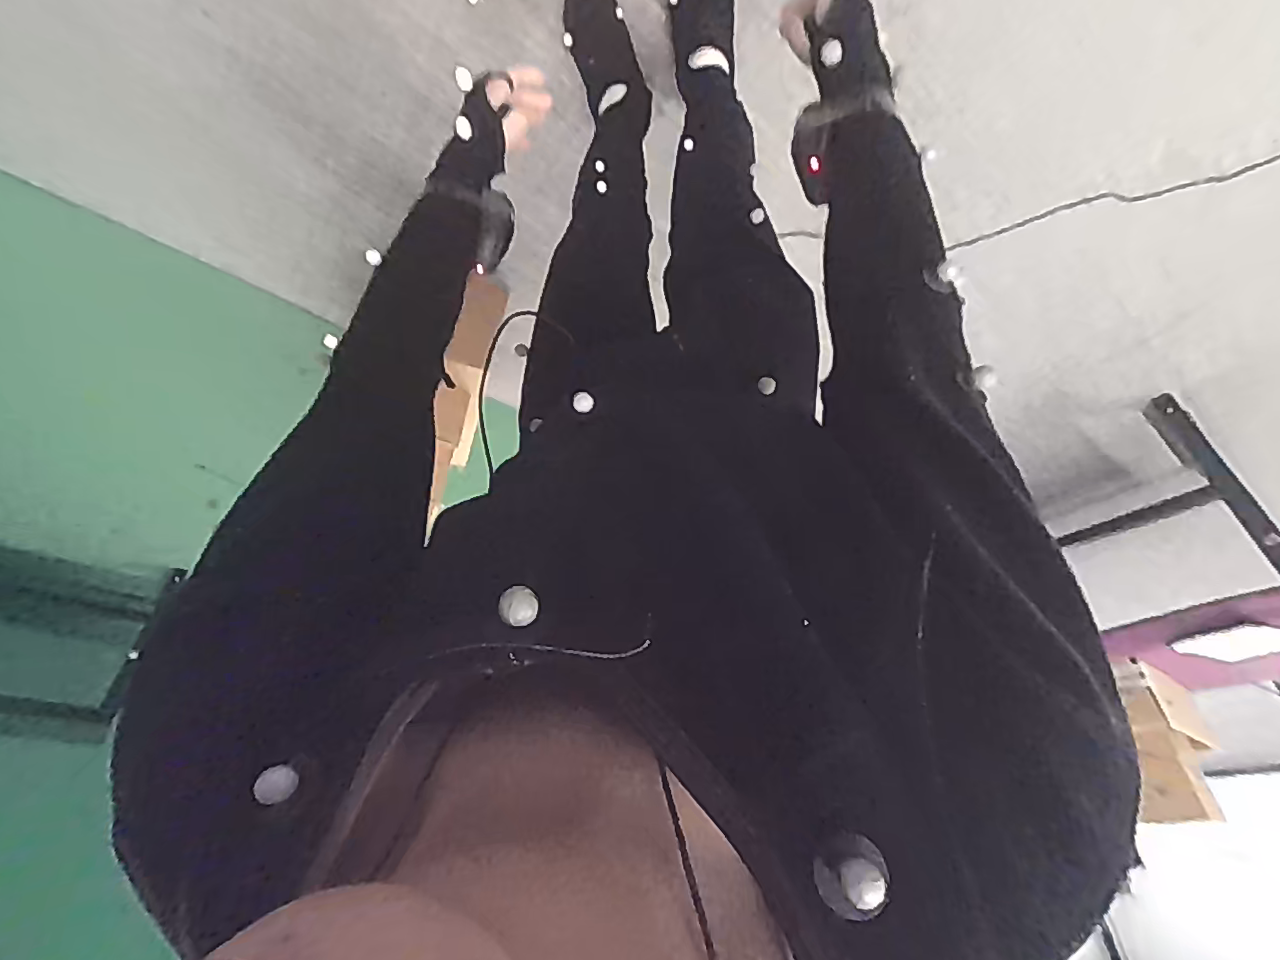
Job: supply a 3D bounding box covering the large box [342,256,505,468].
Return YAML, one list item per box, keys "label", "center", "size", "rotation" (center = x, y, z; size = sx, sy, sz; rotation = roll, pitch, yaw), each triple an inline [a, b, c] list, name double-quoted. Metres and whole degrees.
- label: "large box"
  center: [-0.561, -0.294, 1.422]
  size: [0.320, 0.320, 0.408]
  rotation: [15, 142, -18]

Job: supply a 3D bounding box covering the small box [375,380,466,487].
- label: "small box"
  center: [-0.521, -0.105, 1.265]
  size: [0.179, 0.176, 0.168]
  rotation: [18, 139, -23]

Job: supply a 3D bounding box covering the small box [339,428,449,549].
- label: "small box"
  center: [-0.524, 0.020, 1.162]
  size: [0.168, 0.176, 0.179]
  rotation: [18, 138, -24]

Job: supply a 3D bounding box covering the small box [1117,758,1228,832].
- label: "small box"
  center: [1.617, 0.968, 1.655]
  size: [0.168, 0.176, 0.179]
  rotation: [24, 136, -27]
